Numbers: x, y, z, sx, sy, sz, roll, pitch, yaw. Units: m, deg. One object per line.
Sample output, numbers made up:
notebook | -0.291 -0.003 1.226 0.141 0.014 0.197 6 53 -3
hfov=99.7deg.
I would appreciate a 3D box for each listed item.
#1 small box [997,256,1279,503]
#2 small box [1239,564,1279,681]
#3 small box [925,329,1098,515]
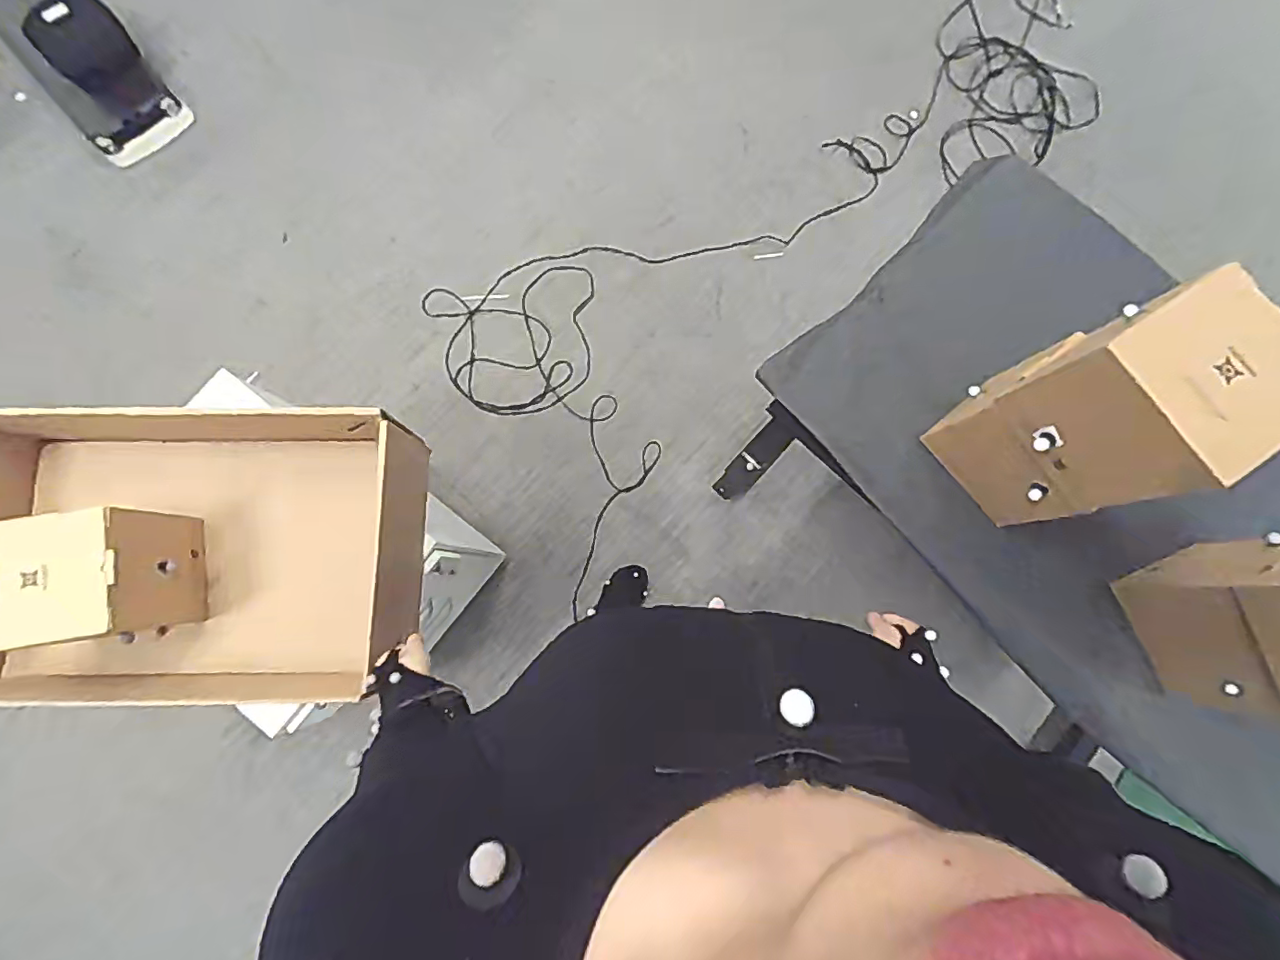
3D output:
small box | 0.546 -0.094 0.584 0.179 0.176 0.168 -32 81 -6
small box | 0.789 0.163 0.539 0.168 0.176 0.179 -14 80 -5
small box | 0.545 -0.065 0.744 0.168 0.176 0.179 -37 82 -9
